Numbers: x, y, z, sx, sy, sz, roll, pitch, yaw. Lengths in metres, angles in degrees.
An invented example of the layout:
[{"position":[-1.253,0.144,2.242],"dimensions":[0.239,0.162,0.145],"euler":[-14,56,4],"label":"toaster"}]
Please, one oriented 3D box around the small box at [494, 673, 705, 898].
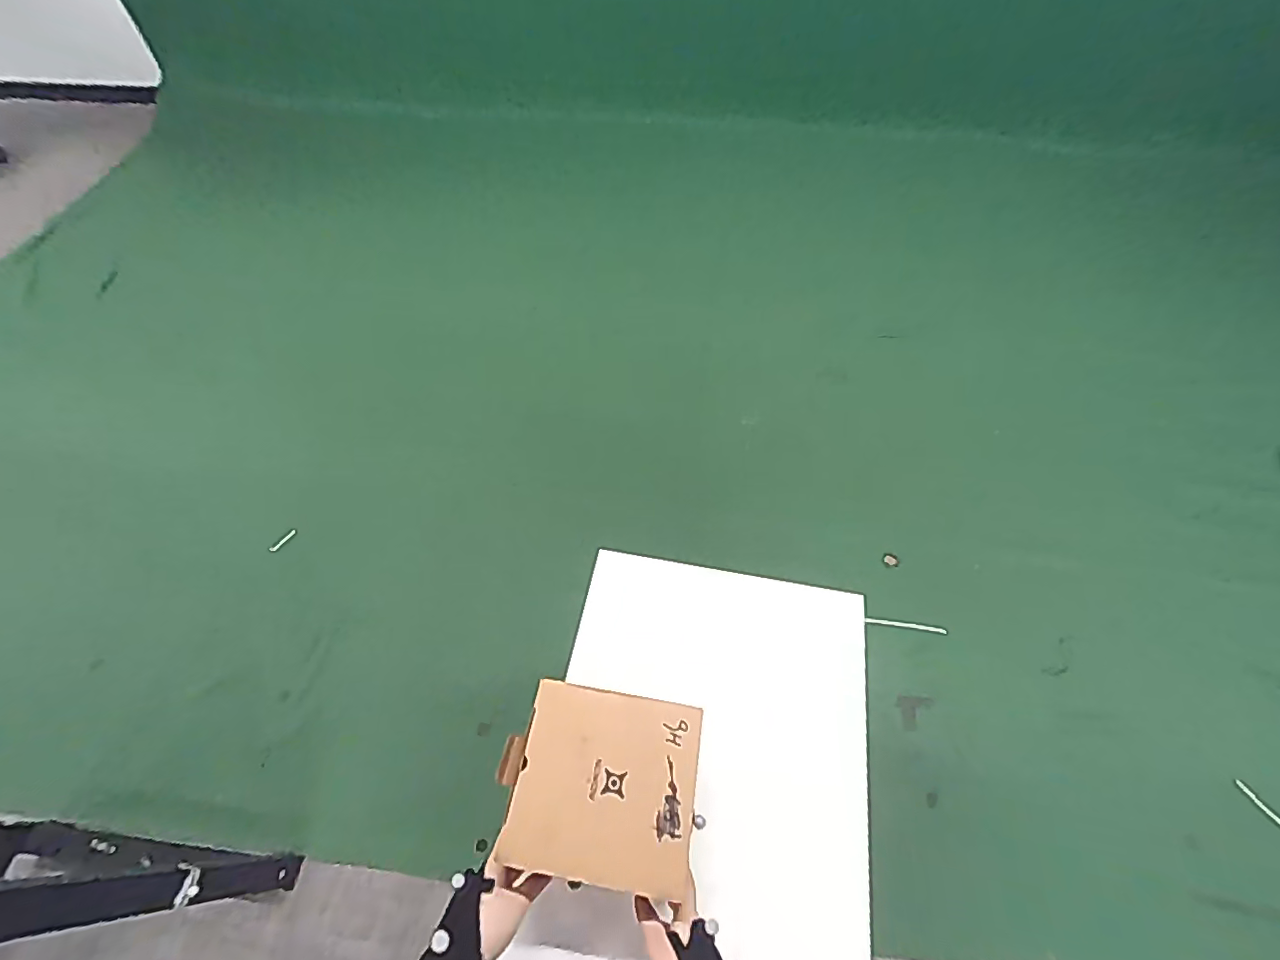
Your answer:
[{"position":[-0.031,0.324,0.583],"dimensions":[0.179,0.176,0.168],"euler":[8,59,6],"label":"small box"}]
